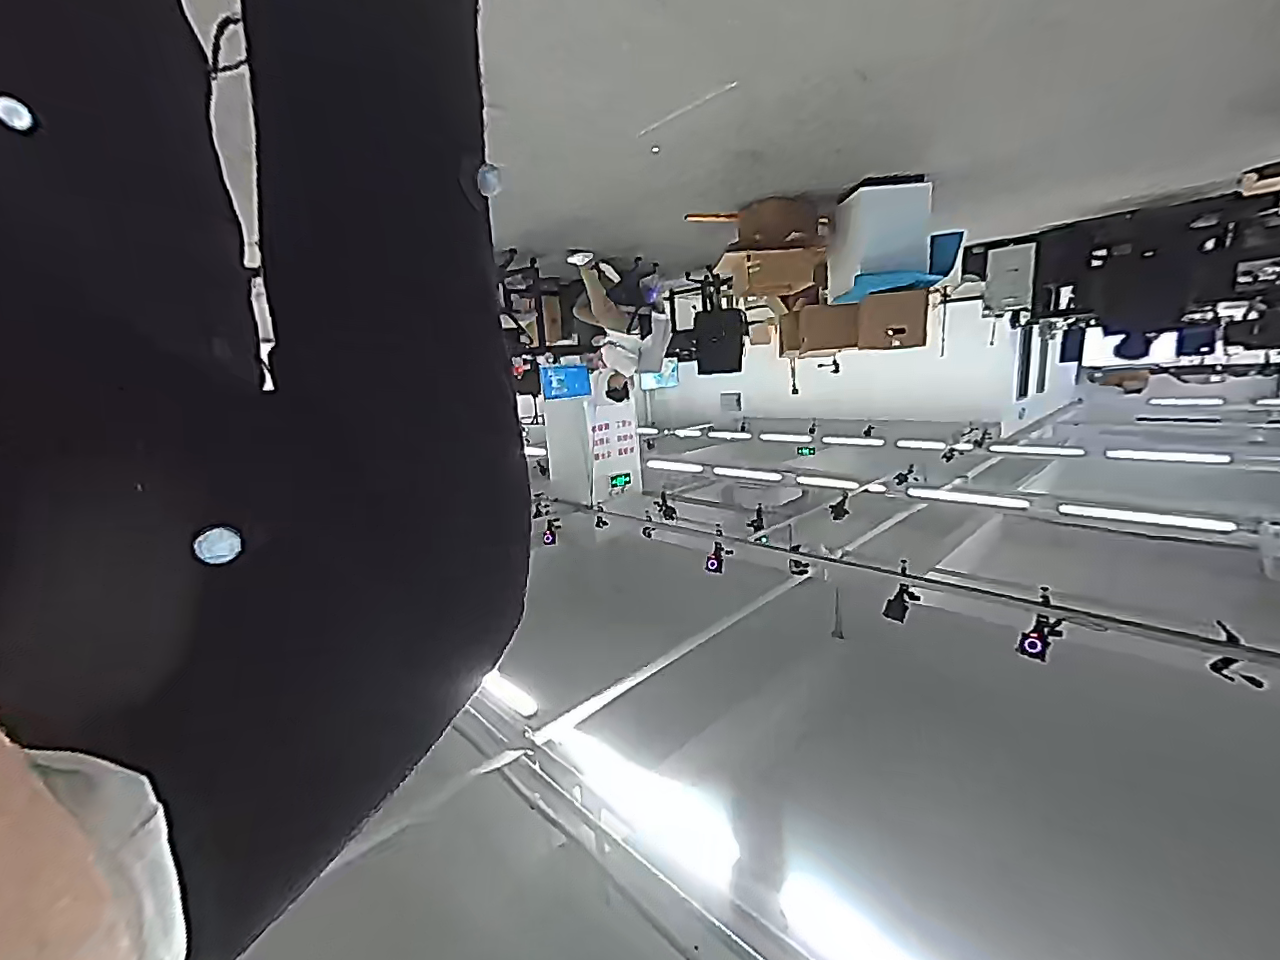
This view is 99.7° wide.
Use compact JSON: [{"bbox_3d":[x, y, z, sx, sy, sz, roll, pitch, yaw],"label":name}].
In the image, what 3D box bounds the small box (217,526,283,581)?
[{"bbox_3d":[-1.582,0.289,2.192,0.179,0.176,0.168,-14,-165,-41],"label":"small box"}]
